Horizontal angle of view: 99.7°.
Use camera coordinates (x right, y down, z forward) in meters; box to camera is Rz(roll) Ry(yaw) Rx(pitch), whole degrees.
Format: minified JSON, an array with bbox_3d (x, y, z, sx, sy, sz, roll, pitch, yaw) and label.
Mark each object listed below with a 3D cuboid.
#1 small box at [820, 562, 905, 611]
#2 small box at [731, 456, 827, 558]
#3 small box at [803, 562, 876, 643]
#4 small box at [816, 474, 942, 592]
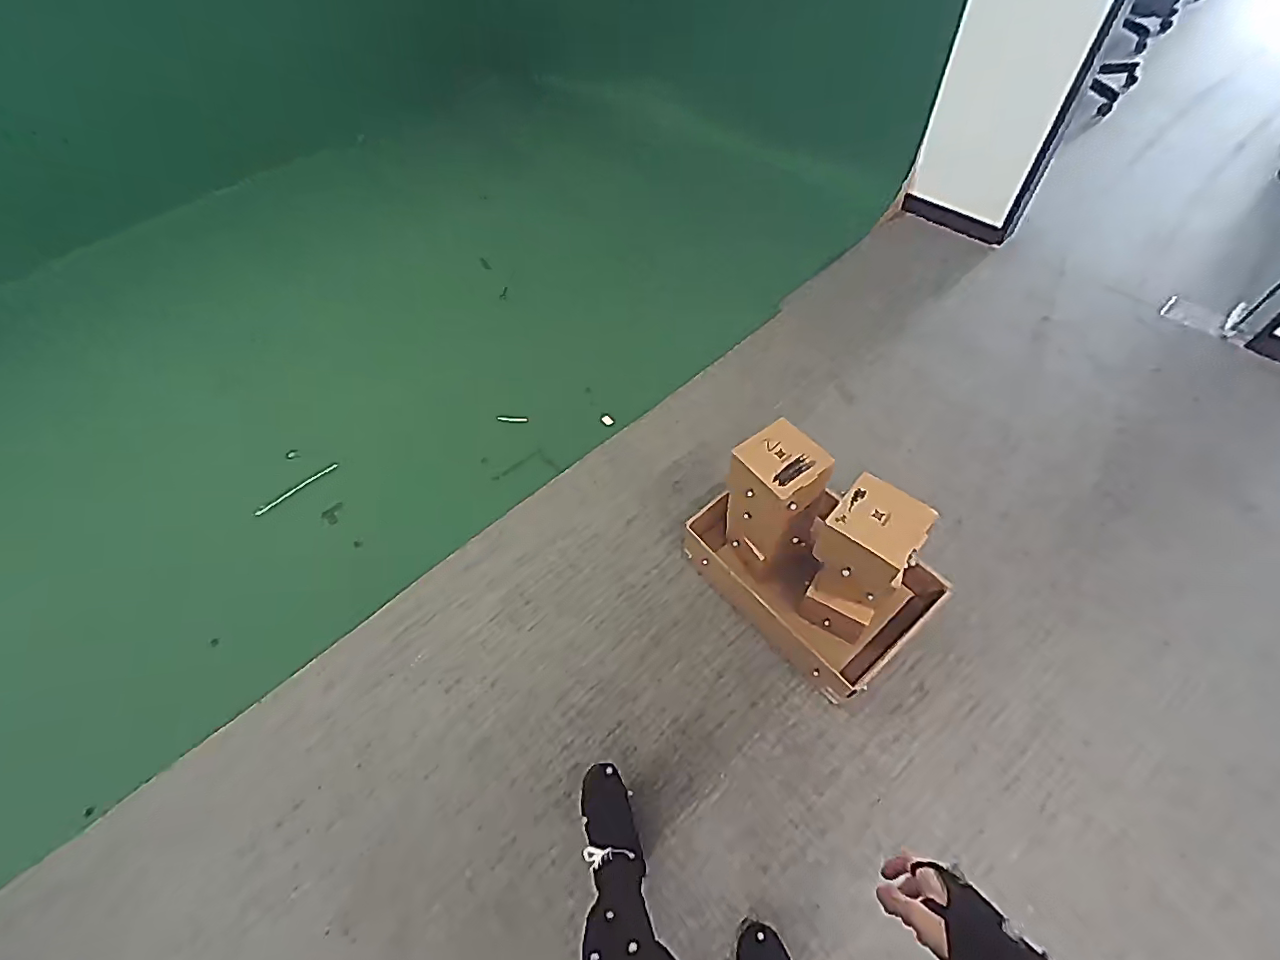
[{"bbox_3d":[0.555,0.199,1.336,0.168,0.176,0.179,17,60,17],"label":"small box"},{"bbox_3d":[0.359,0.076,1.439,0.168,0.176,0.179,-34,62,-16],"label":"small box"},{"bbox_3d":[0.553,0.312,1.459,0.168,0.176,0.179,27,64,22],"label":"small box"},{"bbox_3d":[0.517,0.126,1.193,0.179,0.176,0.168,36,68,25],"label":"small box"}]
